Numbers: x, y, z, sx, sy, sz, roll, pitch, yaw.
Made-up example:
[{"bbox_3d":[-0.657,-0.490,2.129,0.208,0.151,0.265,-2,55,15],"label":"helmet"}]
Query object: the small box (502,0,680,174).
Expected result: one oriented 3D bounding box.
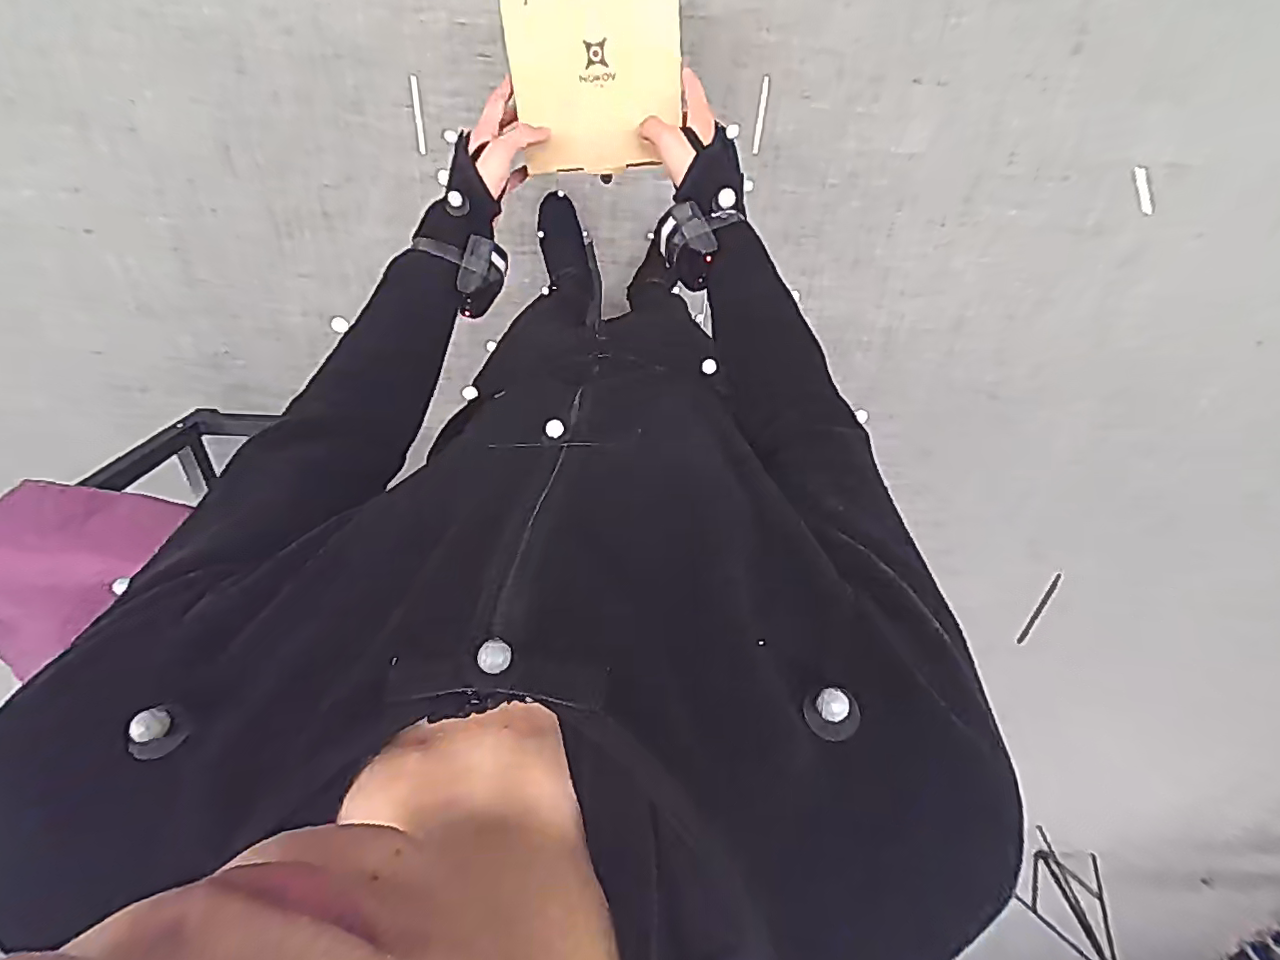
[{"bbox_3d":[-0.045,-0.444,0.590,0.168,0.176,0.179,-4,122,0],"label":"small box"}]
